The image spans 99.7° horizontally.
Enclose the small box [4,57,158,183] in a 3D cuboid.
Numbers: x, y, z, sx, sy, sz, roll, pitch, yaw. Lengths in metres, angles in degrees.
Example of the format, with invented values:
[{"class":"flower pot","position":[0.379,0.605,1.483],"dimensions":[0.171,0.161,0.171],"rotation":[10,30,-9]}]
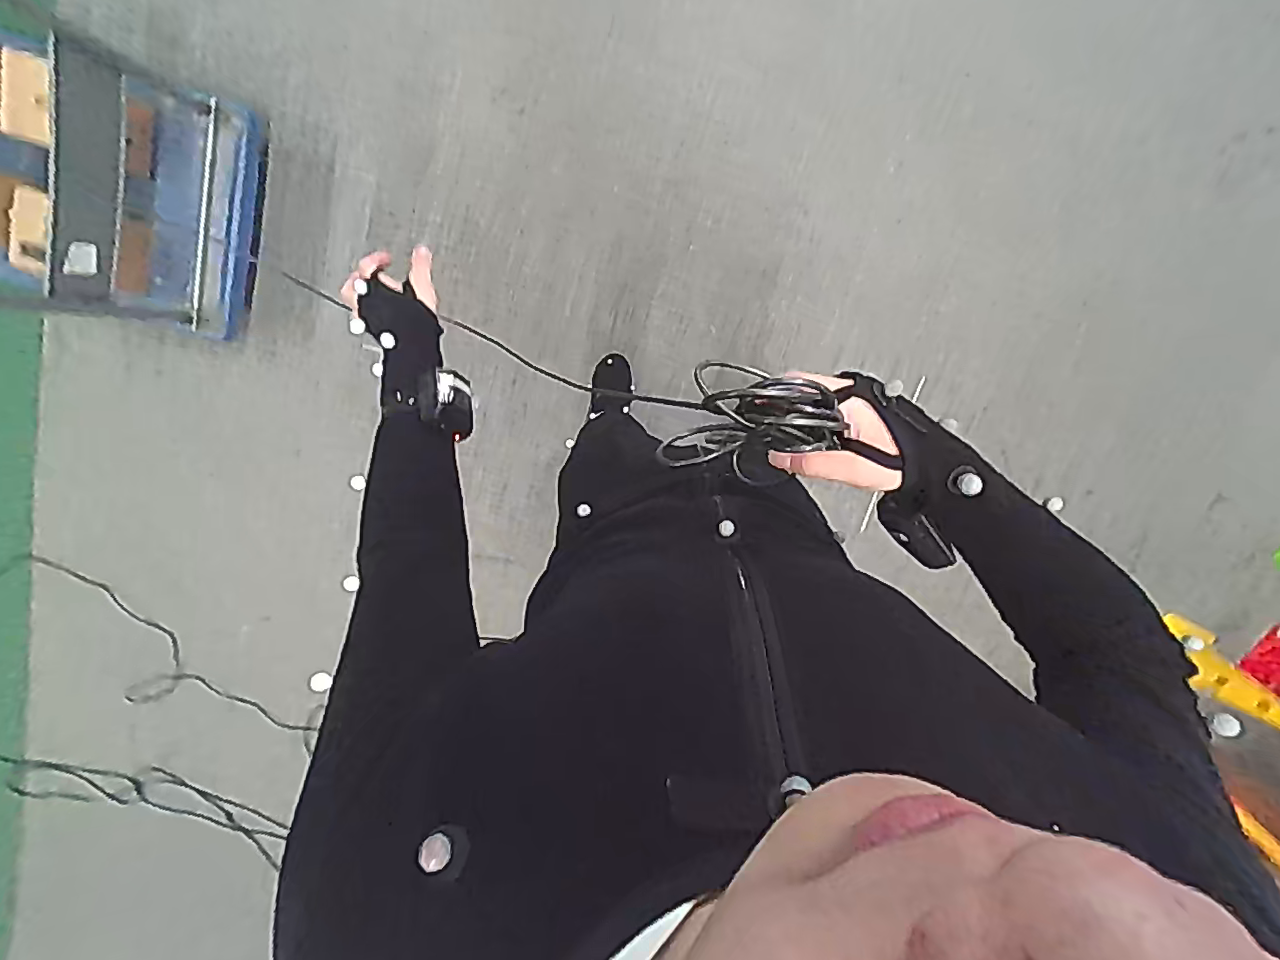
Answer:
[{"class":"small box","position":[-1.264,-0.806,1.232],"dimensions":[0.179,0.176,0.168],"rotation":[16,102,-3]}]

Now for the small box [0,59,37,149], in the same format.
[{"class":"small box","position":[-1.524,-0.879,1.224],"dimensions":[0.179,0.176,0.168],"rotation":[12,103,-2]}]

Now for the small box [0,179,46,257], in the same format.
[{"class":"small box","position":[-1.575,-0.639,1.279],"dimensions":[0.179,0.176,0.168],"rotation":[12,102,-1]}]
